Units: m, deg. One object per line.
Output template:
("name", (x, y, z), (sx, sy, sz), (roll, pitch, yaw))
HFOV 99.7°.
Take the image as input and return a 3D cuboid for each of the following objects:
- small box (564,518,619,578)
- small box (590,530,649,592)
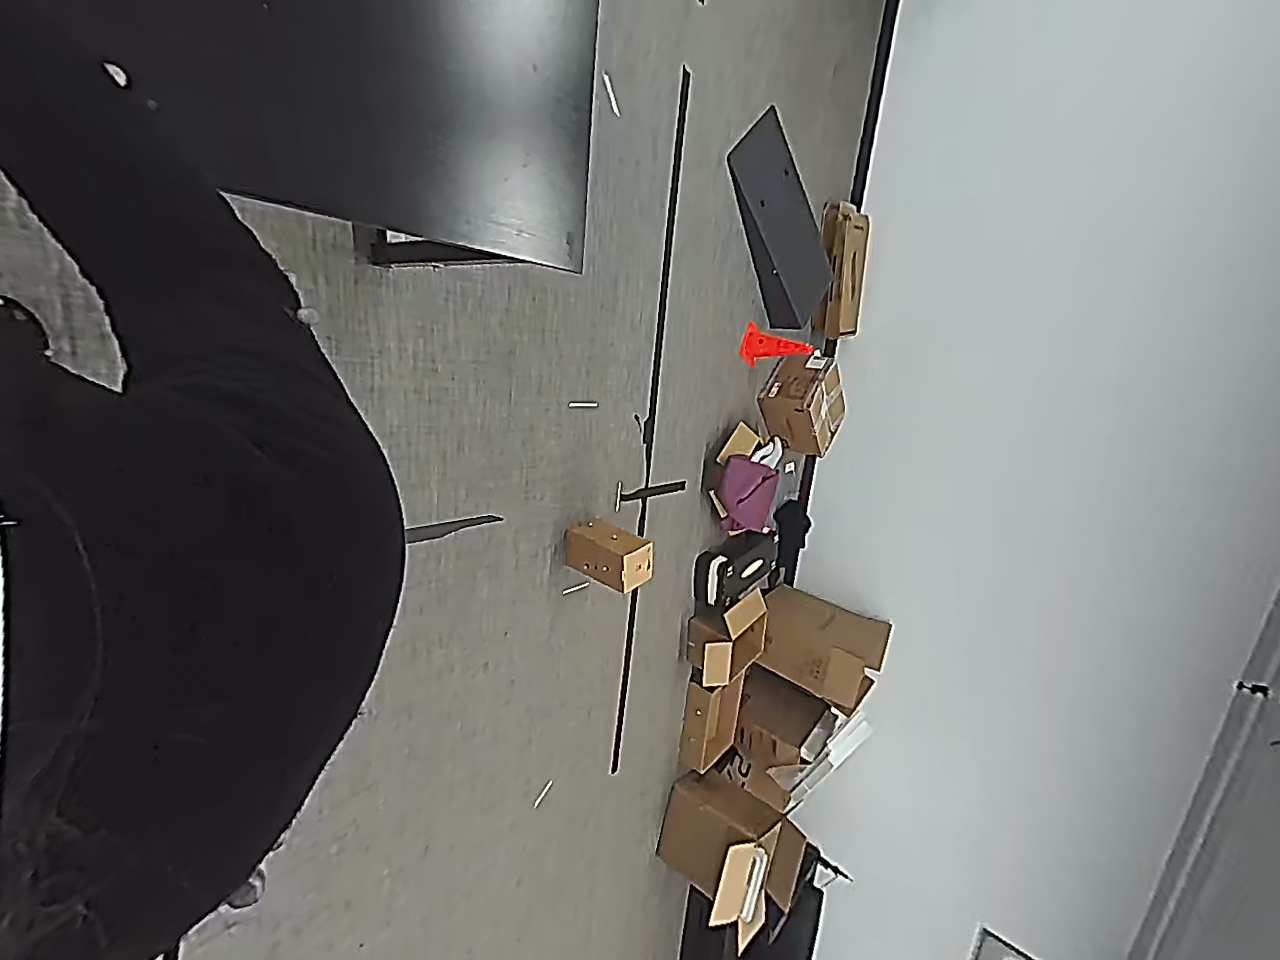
("small box", (-0.203, 0.278, 2.248), (0.168, 0.176, 0.179), (-19, 118, -48))
("small box", (-0.083, 0.315, 2.143), (0.179, 0.176, 0.168), (-20, 119, -46))
